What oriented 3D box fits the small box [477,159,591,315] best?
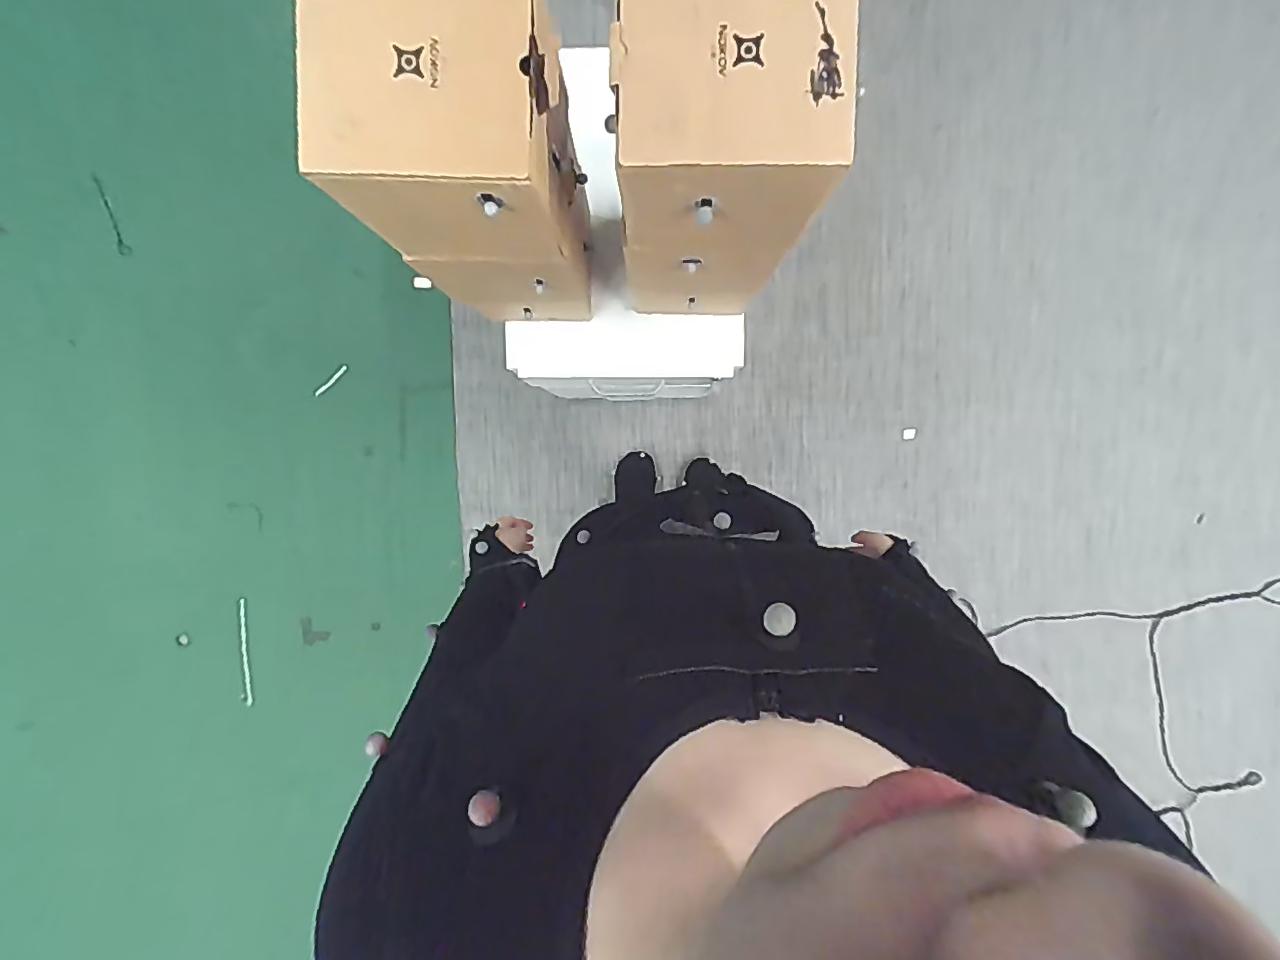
[{"bbox_3d":[-0.161,-0.348,0.798,0.168,0.176,0.179,0,94,-1],"label":"small box"}]

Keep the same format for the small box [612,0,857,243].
[{"bbox_3d":[0.073,-0.318,0.469,0.179,0.176,0.168,1,94,3],"label":"small box"}]

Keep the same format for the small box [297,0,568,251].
[{"bbox_3d":[-0.163,-0.314,0.475,0.179,0.176,0.168,1,93,-1],"label":"small box"}]

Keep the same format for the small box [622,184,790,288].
[{"bbox_3d":[0.074,-0.331,0.632,0.179,0.176,0.168,2,94,1],"label":"small box"}]

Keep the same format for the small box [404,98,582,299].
[{"bbox_3d":[-0.160,-0.320,0.638,0.179,0.176,0.168,-1,93,0],"label":"small box"}]
